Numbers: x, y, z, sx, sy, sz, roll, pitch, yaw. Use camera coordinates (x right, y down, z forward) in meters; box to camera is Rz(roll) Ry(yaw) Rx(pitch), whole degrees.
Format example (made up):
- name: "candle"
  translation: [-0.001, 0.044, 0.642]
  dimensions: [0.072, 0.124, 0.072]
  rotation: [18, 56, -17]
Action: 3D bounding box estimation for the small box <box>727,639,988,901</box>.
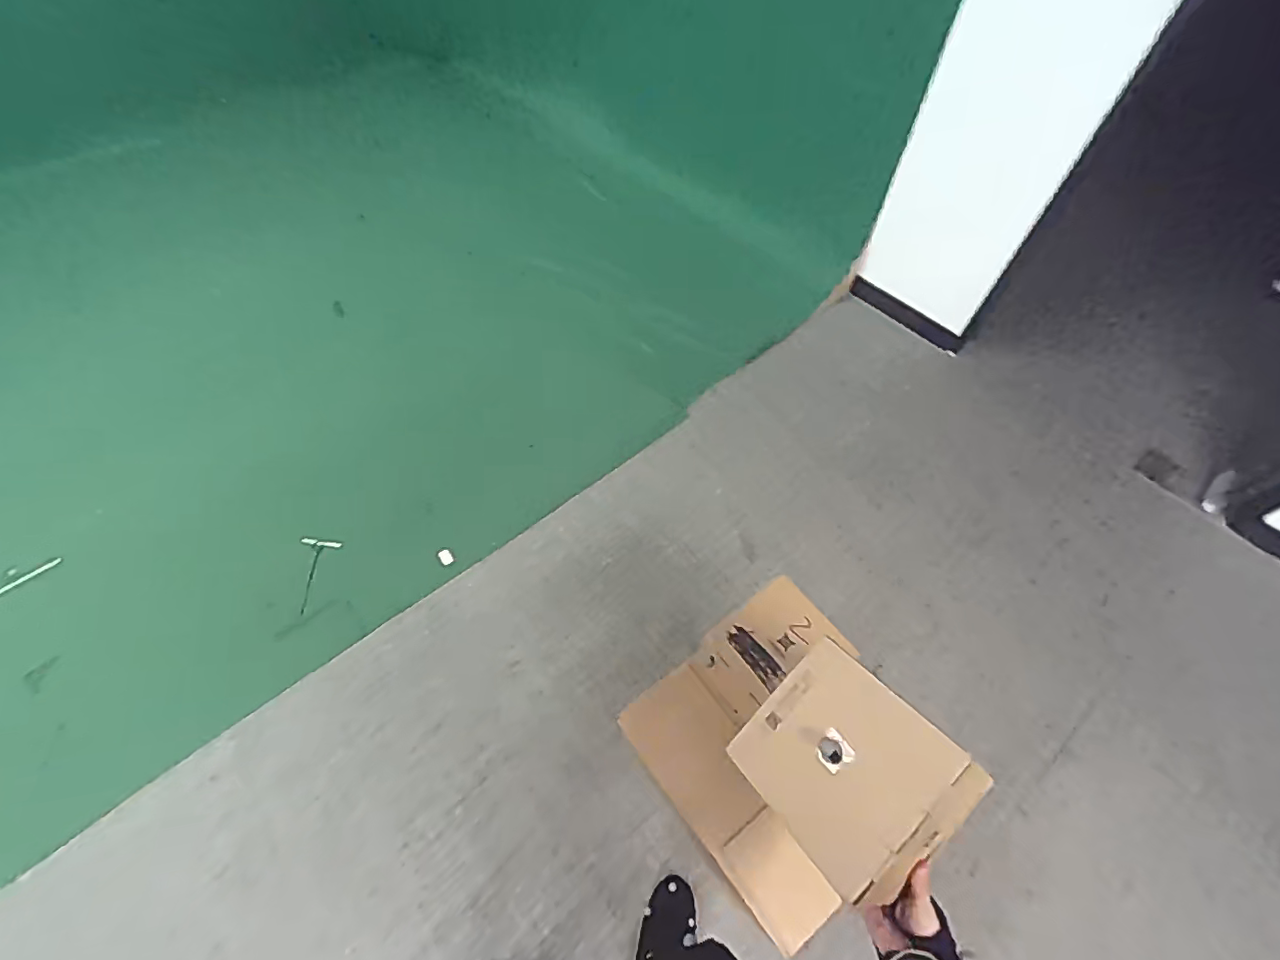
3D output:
- name: "small box"
  translation: [0.223, 0.294, 0.567]
  dimensions: [0.168, 0.179, 0.176]
  rotation: [-50, 42, -1]
